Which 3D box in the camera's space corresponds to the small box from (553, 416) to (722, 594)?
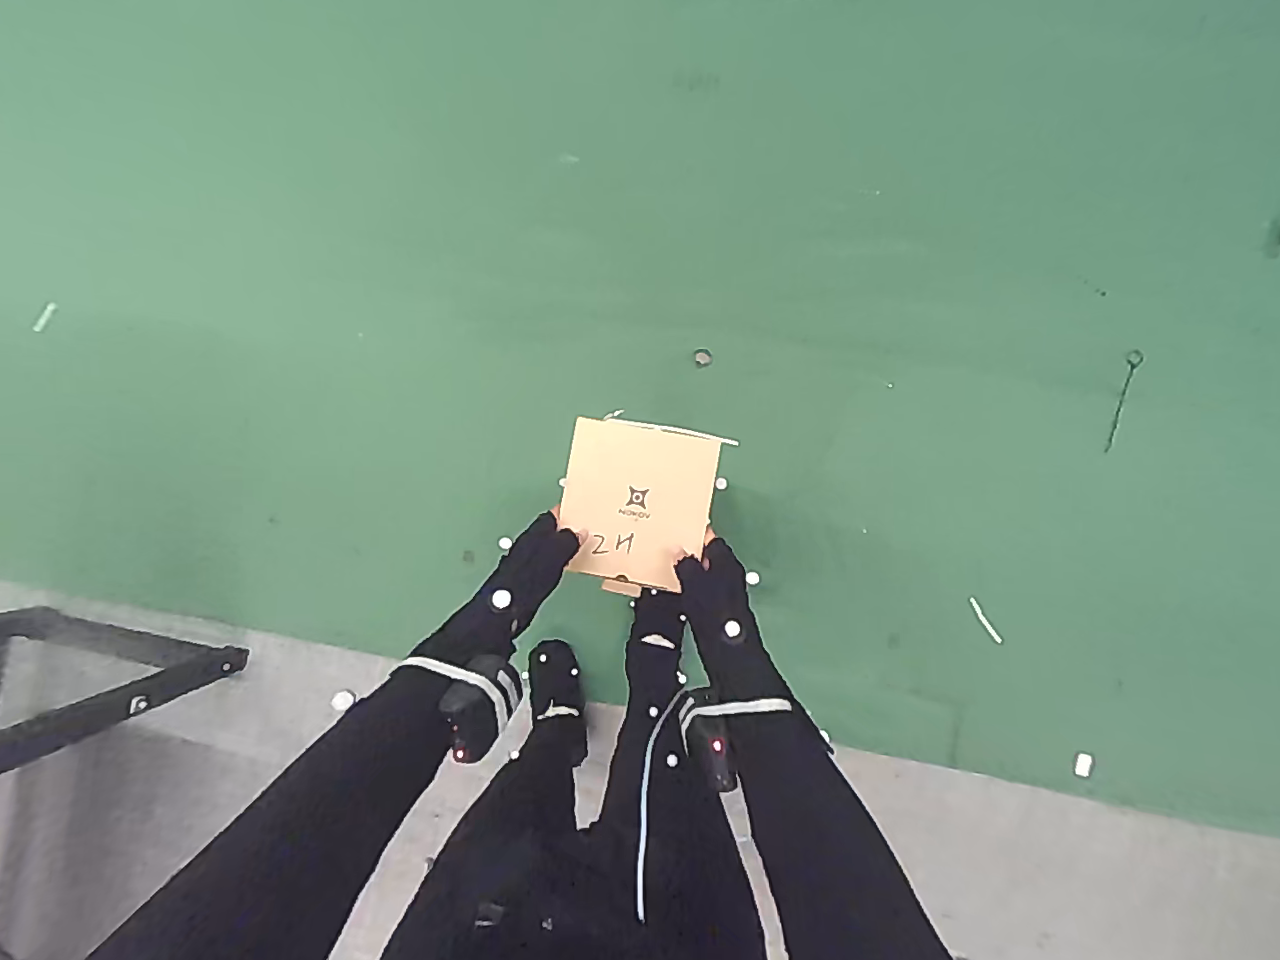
[{"bbox_3d":[0.001,0.030,0.682,0.168,0.176,0.179,10,88,4],"label":"small box"}]
